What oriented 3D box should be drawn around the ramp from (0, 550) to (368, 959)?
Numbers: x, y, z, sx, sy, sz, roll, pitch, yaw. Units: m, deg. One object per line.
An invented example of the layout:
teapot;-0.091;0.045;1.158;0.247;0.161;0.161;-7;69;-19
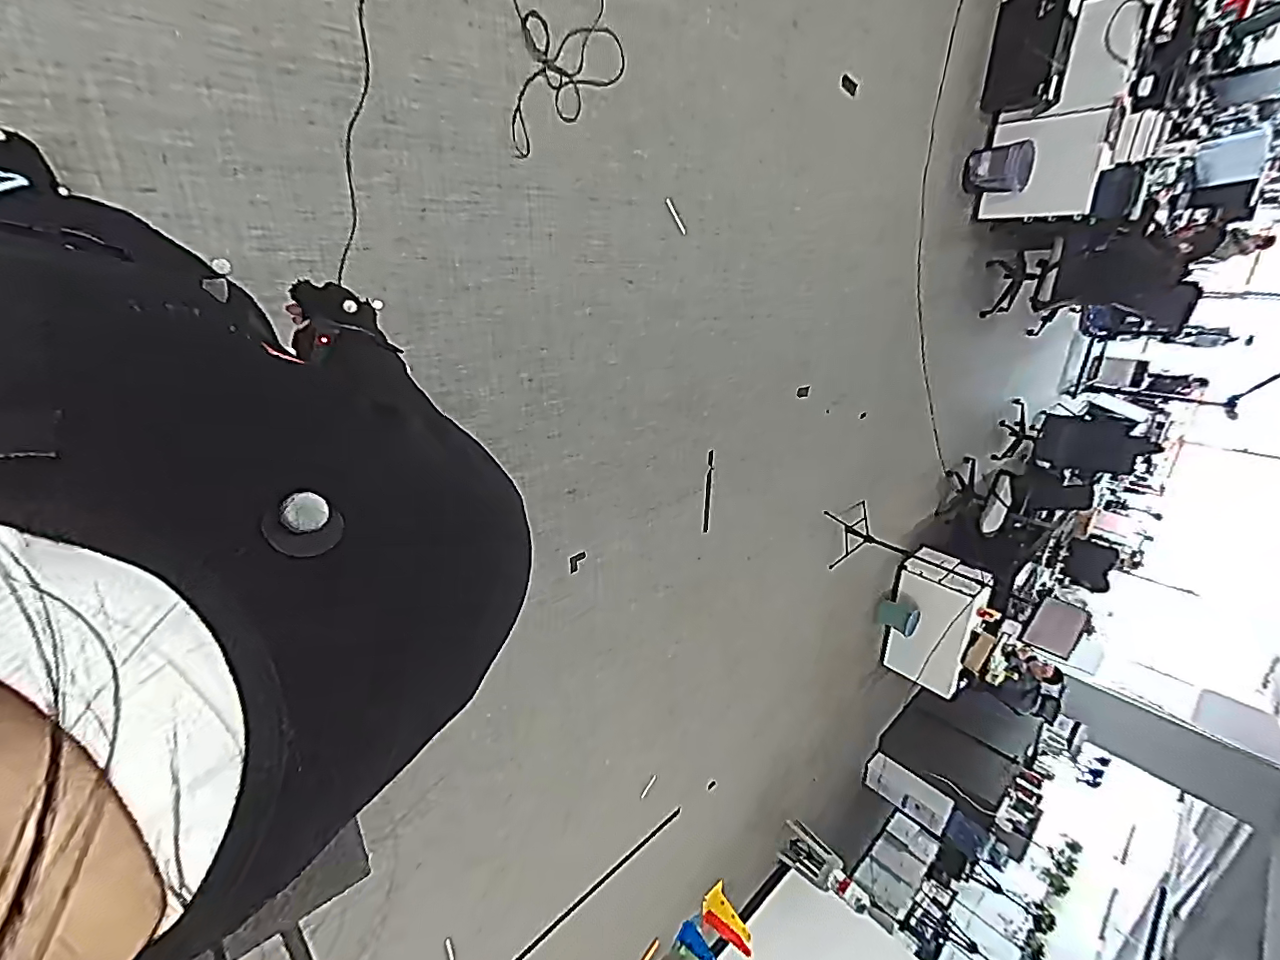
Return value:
ramp;-1.021;0.704;1.303;0.509;0.206;0.991;-18;119;-37
